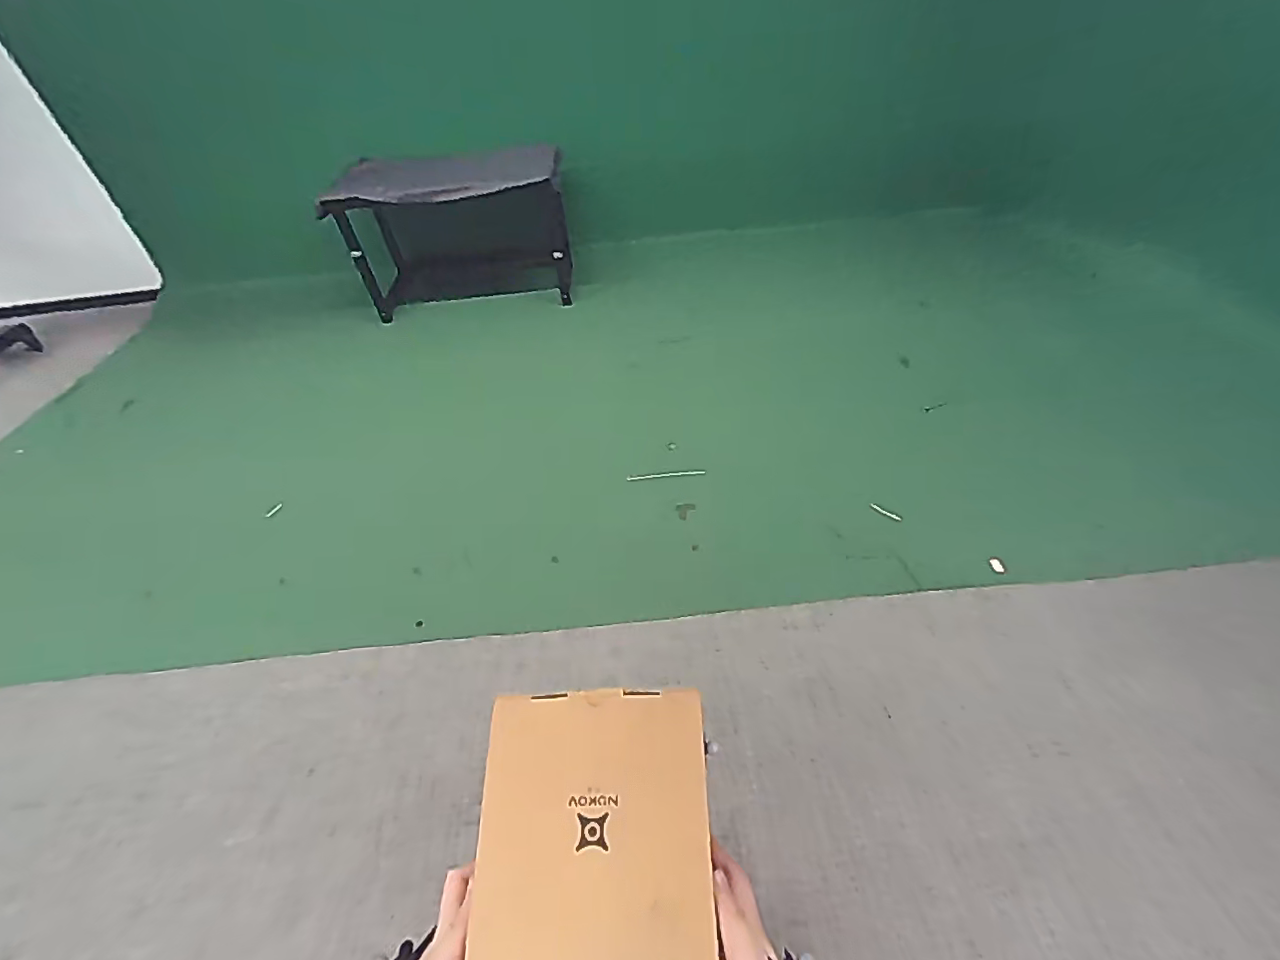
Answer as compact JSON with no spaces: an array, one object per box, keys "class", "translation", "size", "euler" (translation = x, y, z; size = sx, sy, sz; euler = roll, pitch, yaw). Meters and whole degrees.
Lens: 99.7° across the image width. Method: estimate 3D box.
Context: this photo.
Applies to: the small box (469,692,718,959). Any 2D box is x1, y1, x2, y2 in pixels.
[{"class":"small box","translation":[-0.025,0.284,0.450],"size":[0.168,0.176,0.179],"euler":[-3,59,3]}]
